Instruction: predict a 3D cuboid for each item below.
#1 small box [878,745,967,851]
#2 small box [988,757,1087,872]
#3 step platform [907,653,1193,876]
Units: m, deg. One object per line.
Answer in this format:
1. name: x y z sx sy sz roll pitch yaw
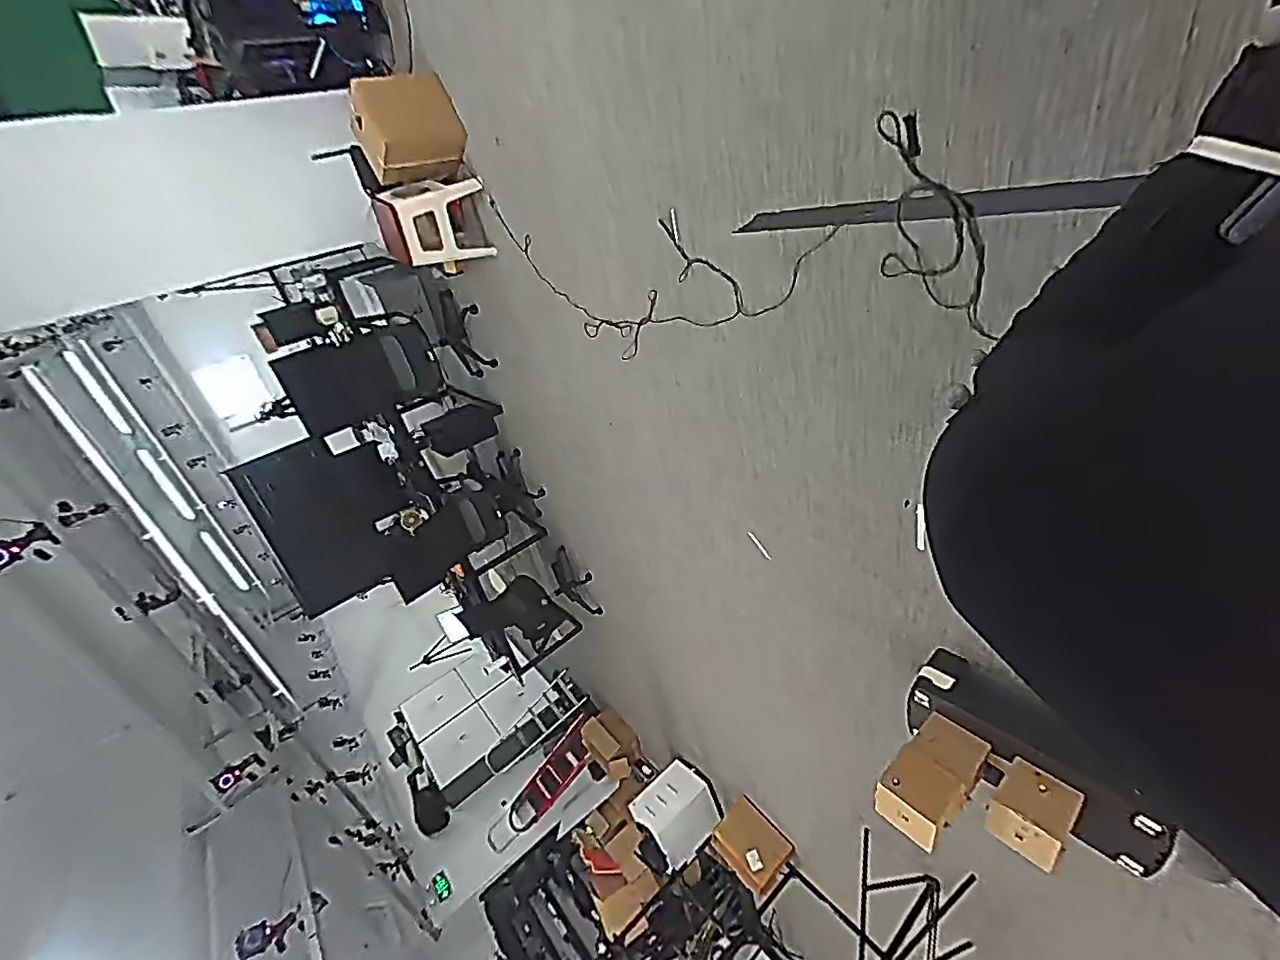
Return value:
1. small box: 0.834 0.931 1.596 0.179 0.176 0.168 27 139 46
2. small box: 1.103 0.922 1.501 0.168 0.176 0.179 25 137 46
3. step platform: 1.186 0.834 1.652 0.684 0.204 0.286 22 136 47
